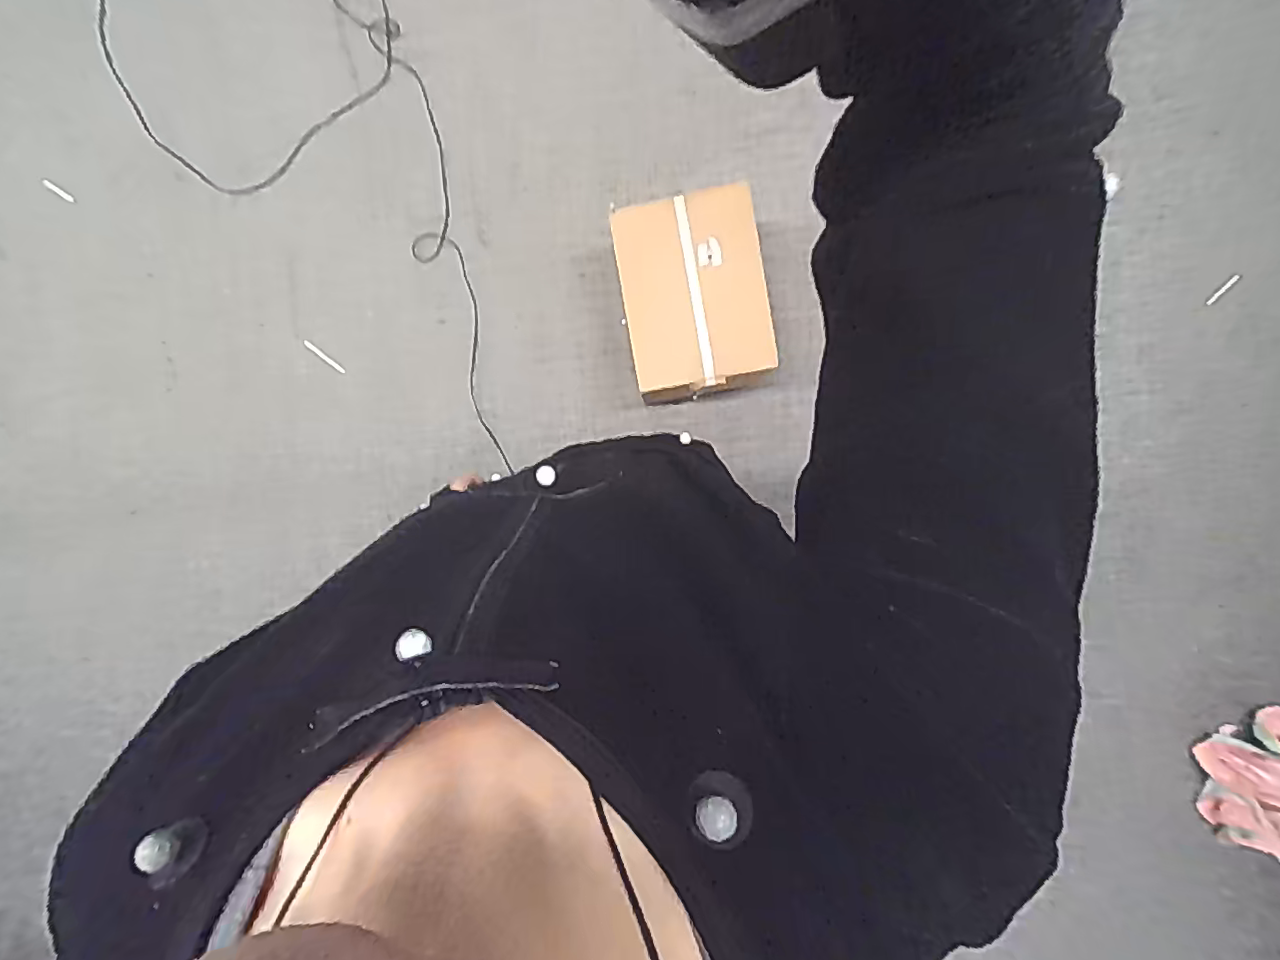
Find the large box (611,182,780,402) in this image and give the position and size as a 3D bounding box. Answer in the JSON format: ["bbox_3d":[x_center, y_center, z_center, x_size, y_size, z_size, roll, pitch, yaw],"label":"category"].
[{"bbox_3d":[0.131,-0.429,1.329,0.320,0.320,0.408,-10,92,3],"label":"large box"}]
